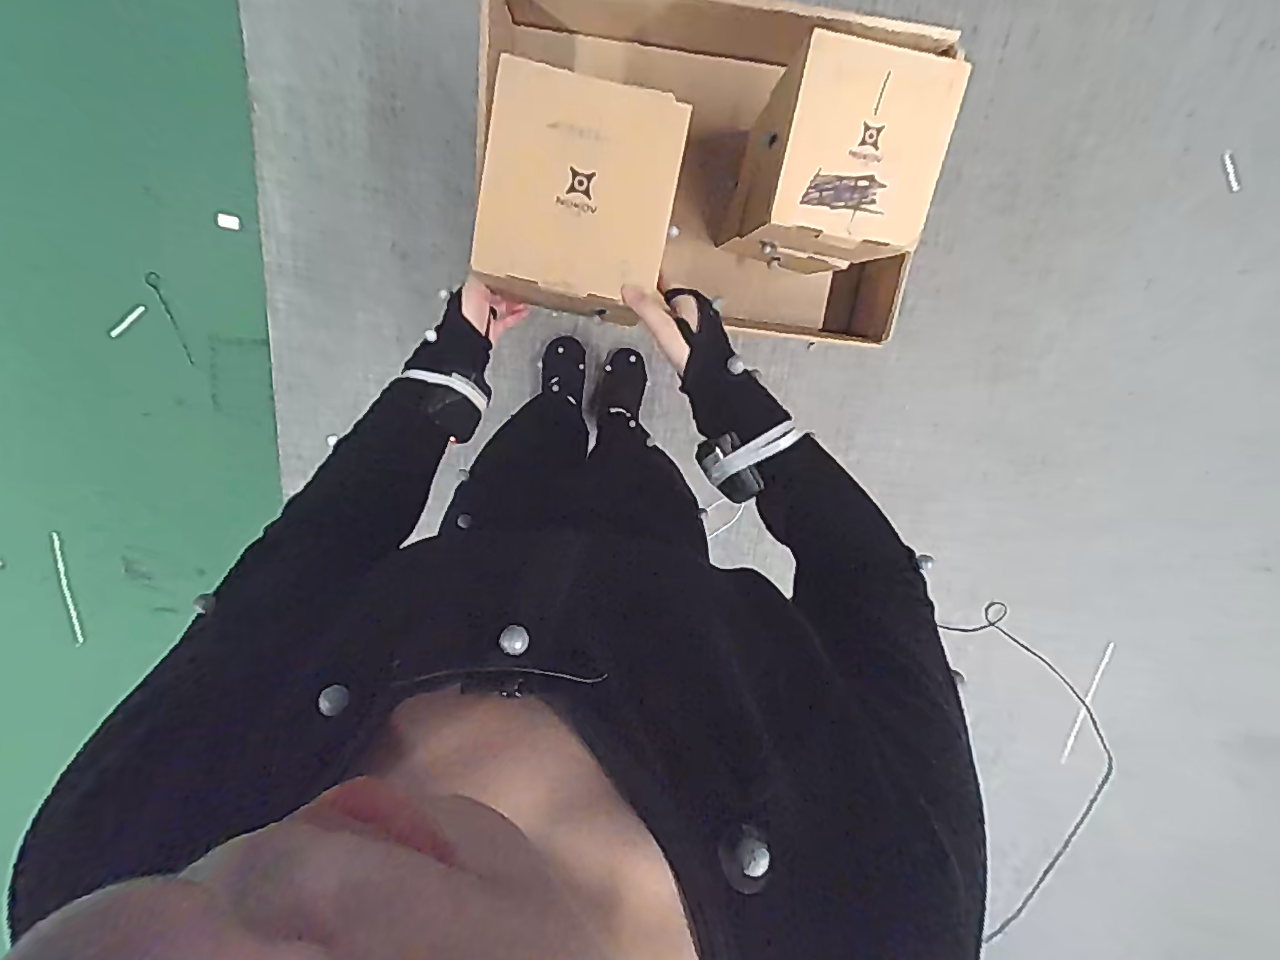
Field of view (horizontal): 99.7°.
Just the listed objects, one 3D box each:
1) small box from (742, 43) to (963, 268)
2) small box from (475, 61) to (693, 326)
[{"bbox_3d":[0.228,-0.358,0.637,0.168,0.176,0.179,9,107,-5],"label":"small box"},{"bbox_3d":[-0.058,-0.265,0.553,0.168,0.176,0.179,11,98,-9],"label":"small box"}]
